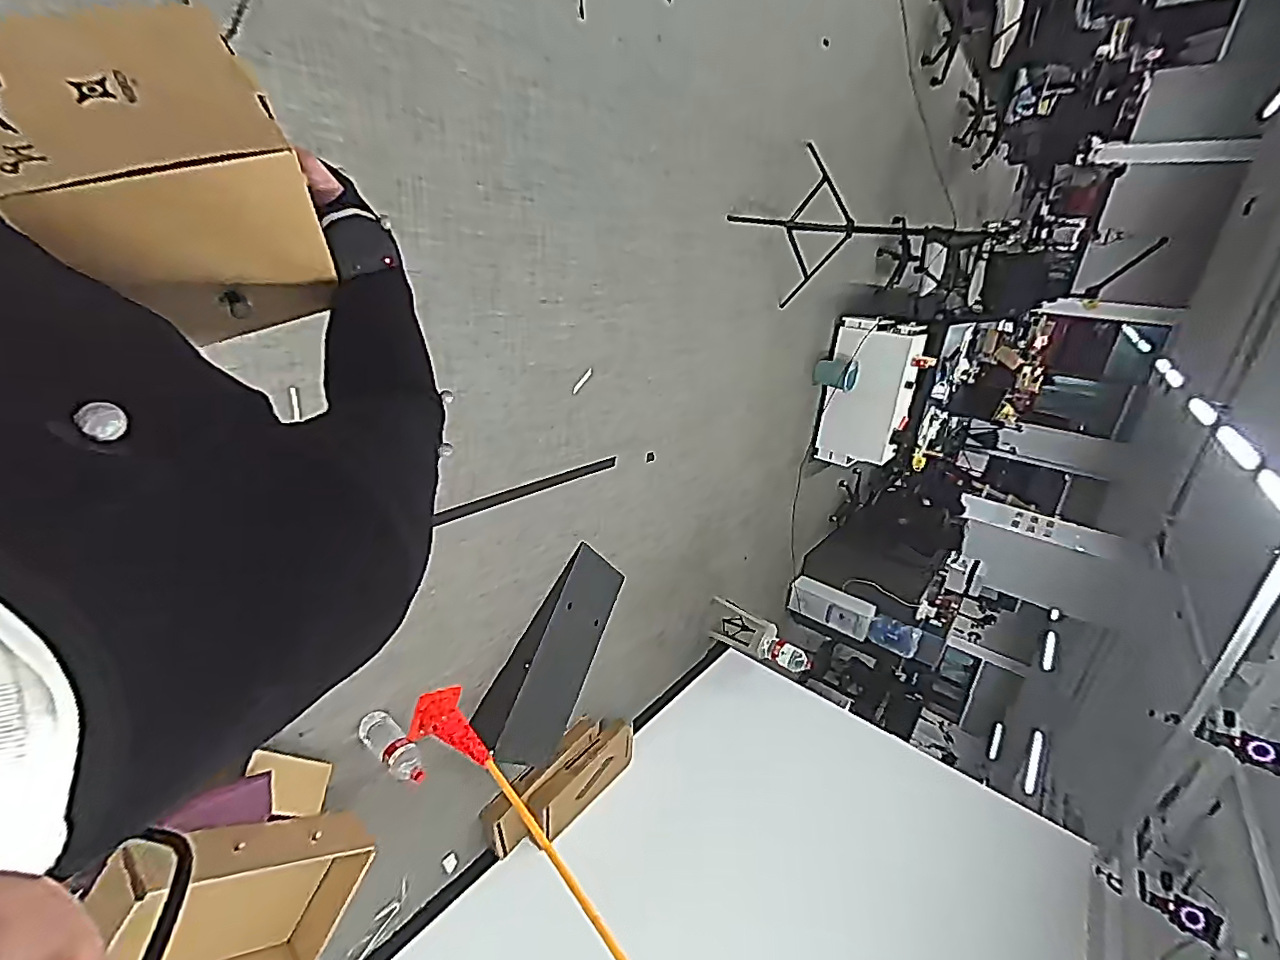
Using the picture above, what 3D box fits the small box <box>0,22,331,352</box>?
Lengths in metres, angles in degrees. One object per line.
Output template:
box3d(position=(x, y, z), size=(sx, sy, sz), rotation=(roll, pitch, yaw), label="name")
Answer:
box3d(position=(-0.393, -0.243, 0.464), size=(0.179, 0.168, 0.176), rotation=(-29, 166, -25), label="small box")
